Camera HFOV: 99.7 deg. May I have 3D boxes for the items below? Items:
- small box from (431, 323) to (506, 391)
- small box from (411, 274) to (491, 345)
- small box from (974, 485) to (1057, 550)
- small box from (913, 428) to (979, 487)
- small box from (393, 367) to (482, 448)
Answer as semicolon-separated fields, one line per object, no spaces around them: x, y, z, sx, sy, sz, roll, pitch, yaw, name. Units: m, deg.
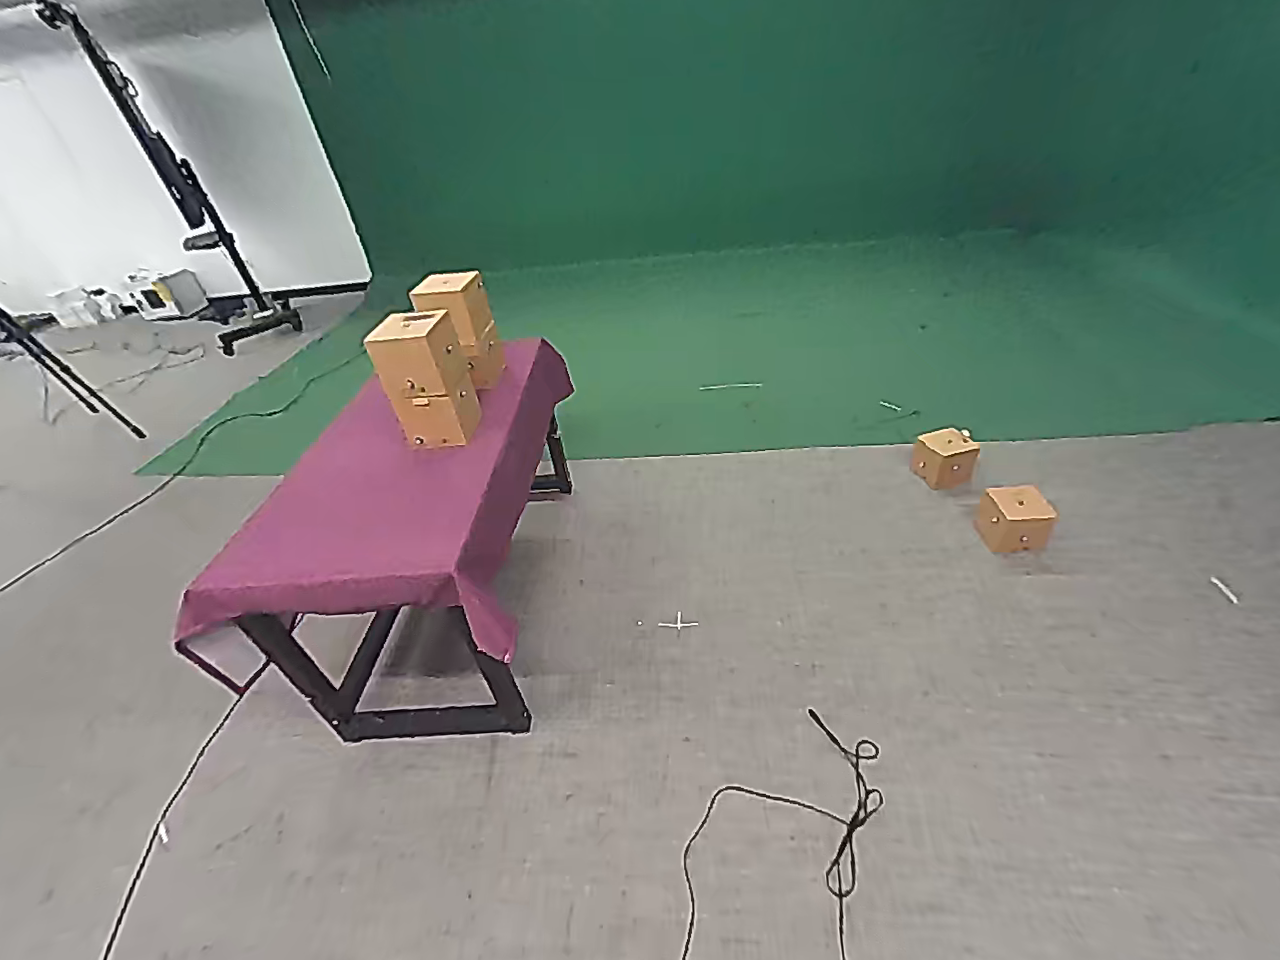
-0.567;-0.410;1.819;0.168;0.176;0.179;0;38;9;small box
-0.590;-0.537;1.719;0.168;0.176;0.179;-2;38;7;small box
1.343;0.141;1.945;0.168;0.176;0.179;-3;38;5;small box
1.269;-0.091;2.260;0.179;0.176;0.168;-14;38;-7;small box
-0.572;-0.203;1.552;0.168;0.176;0.179;-4;37;5;small box
